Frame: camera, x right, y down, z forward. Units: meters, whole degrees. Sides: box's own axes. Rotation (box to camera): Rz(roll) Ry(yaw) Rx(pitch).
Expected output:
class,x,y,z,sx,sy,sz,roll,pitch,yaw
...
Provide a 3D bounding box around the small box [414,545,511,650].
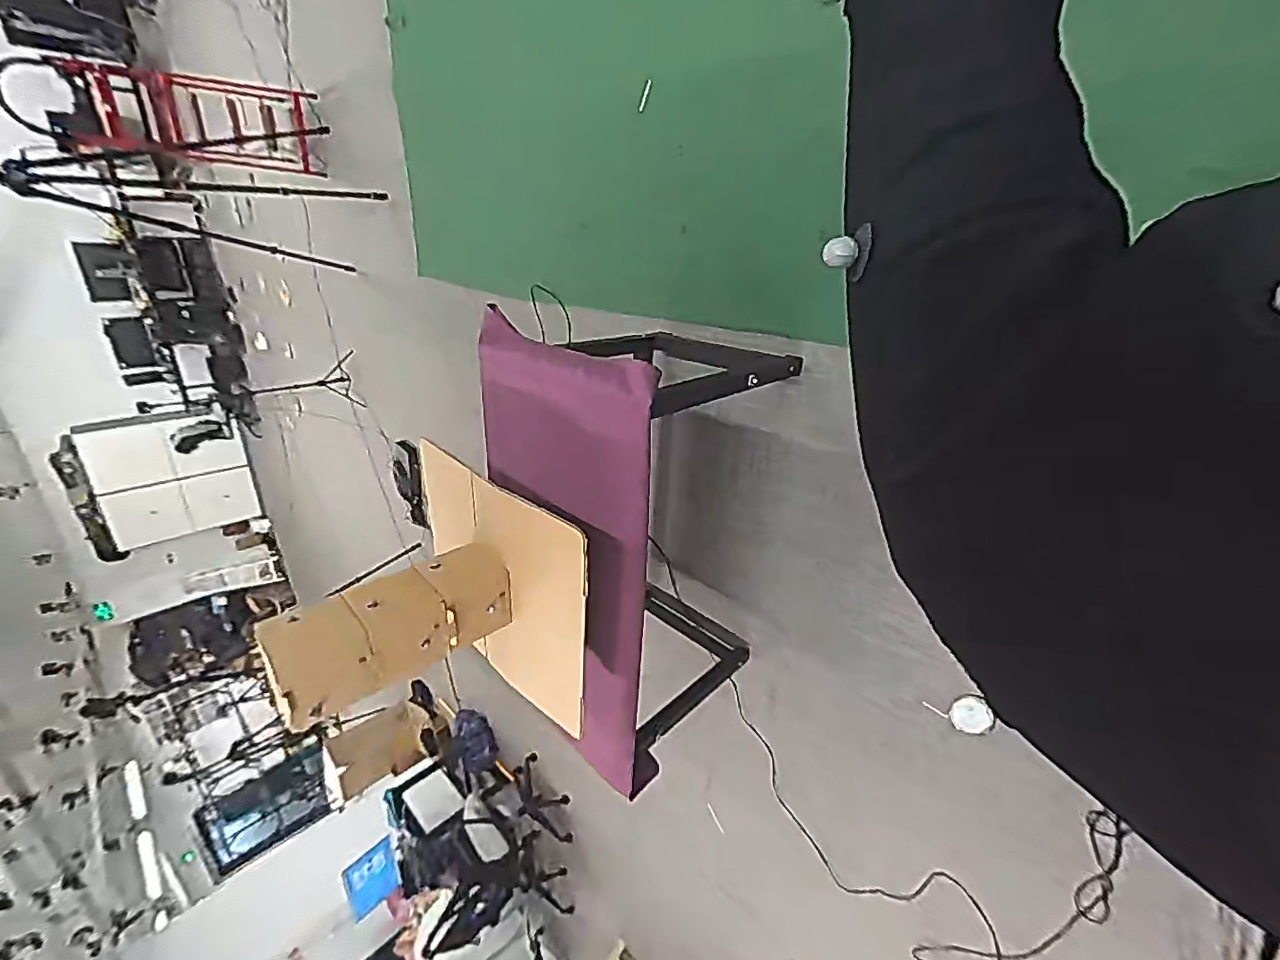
class,x,y,z,sx,sy,sz,roll,pitch,yaw
small box,-0.439,0.282,1.349,0.179,0.176,0.168,27,124,39

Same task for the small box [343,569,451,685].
class,x,y,z,sx,sy,sz,roll,pitch,yaw
small box,-0.555,0.325,1.243,0.179,0.176,0.168,26,123,39
